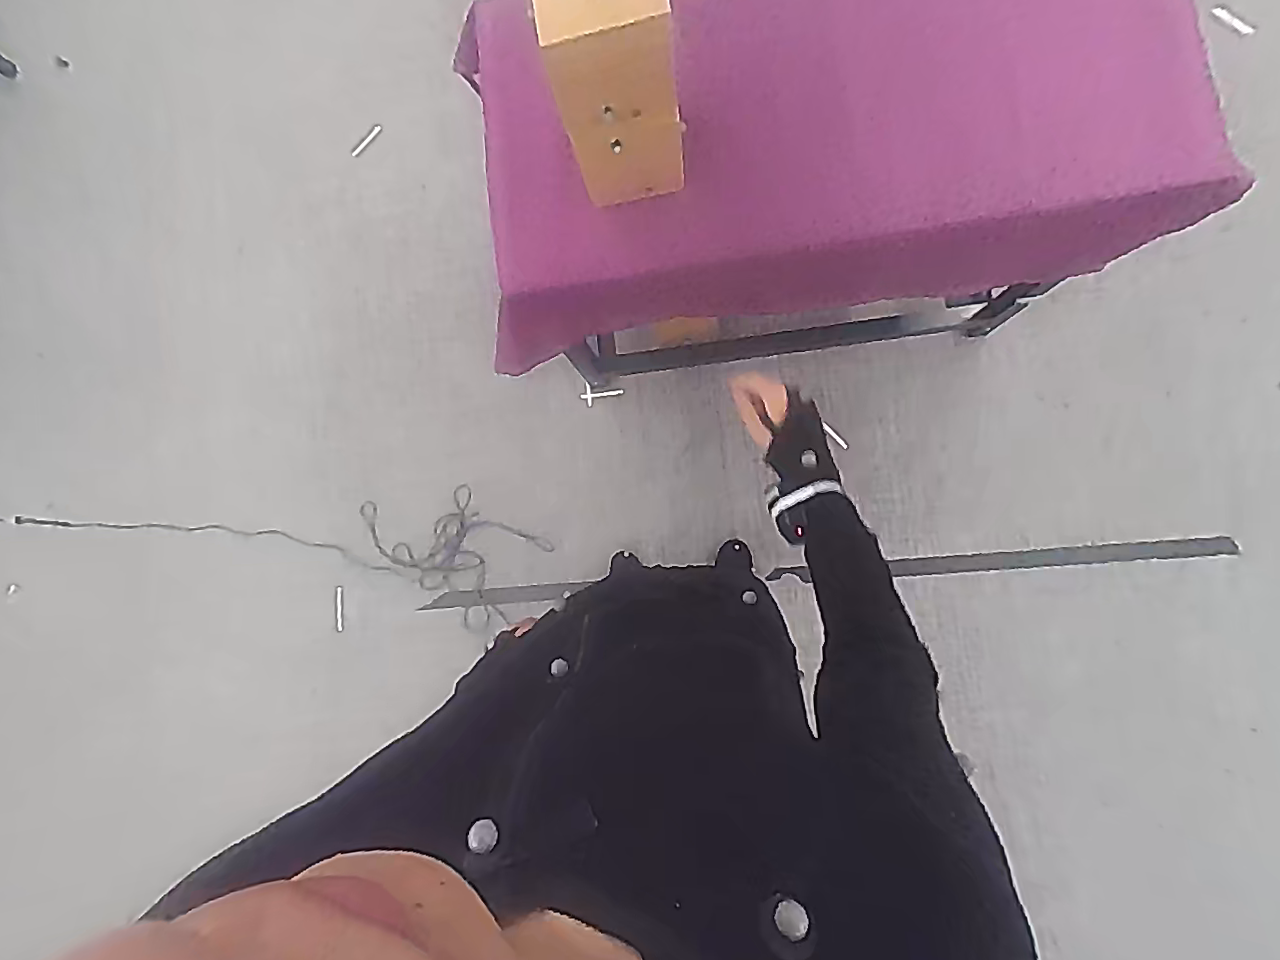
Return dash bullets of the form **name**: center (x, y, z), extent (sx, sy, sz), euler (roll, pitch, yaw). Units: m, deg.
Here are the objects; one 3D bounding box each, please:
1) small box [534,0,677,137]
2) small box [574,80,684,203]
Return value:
- **small box**: center (-0.045, -0.618, 0.736), extent (0.168, 0.176, 0.179), euler (-10, 84, 6)
- **small box**: center (-0.019, -0.600, 0.897), extent (0.168, 0.176, 0.179), euler (-8, 83, 6)
